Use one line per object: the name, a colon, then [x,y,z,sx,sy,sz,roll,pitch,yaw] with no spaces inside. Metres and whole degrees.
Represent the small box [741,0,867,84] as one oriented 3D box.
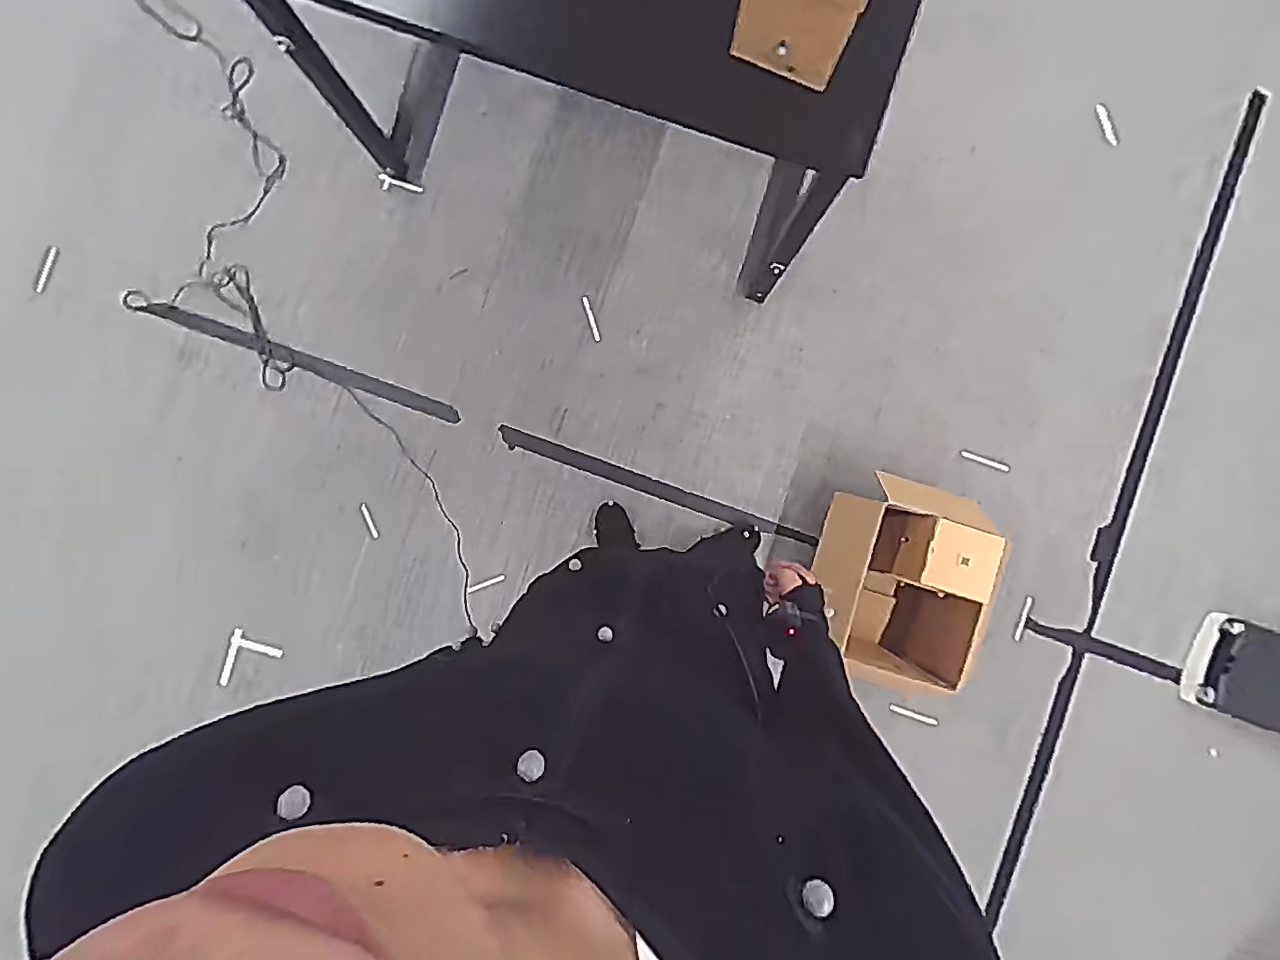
small box: [0.266,-0.757,0.809,0.168,0.176,0.179,24,90,0]
